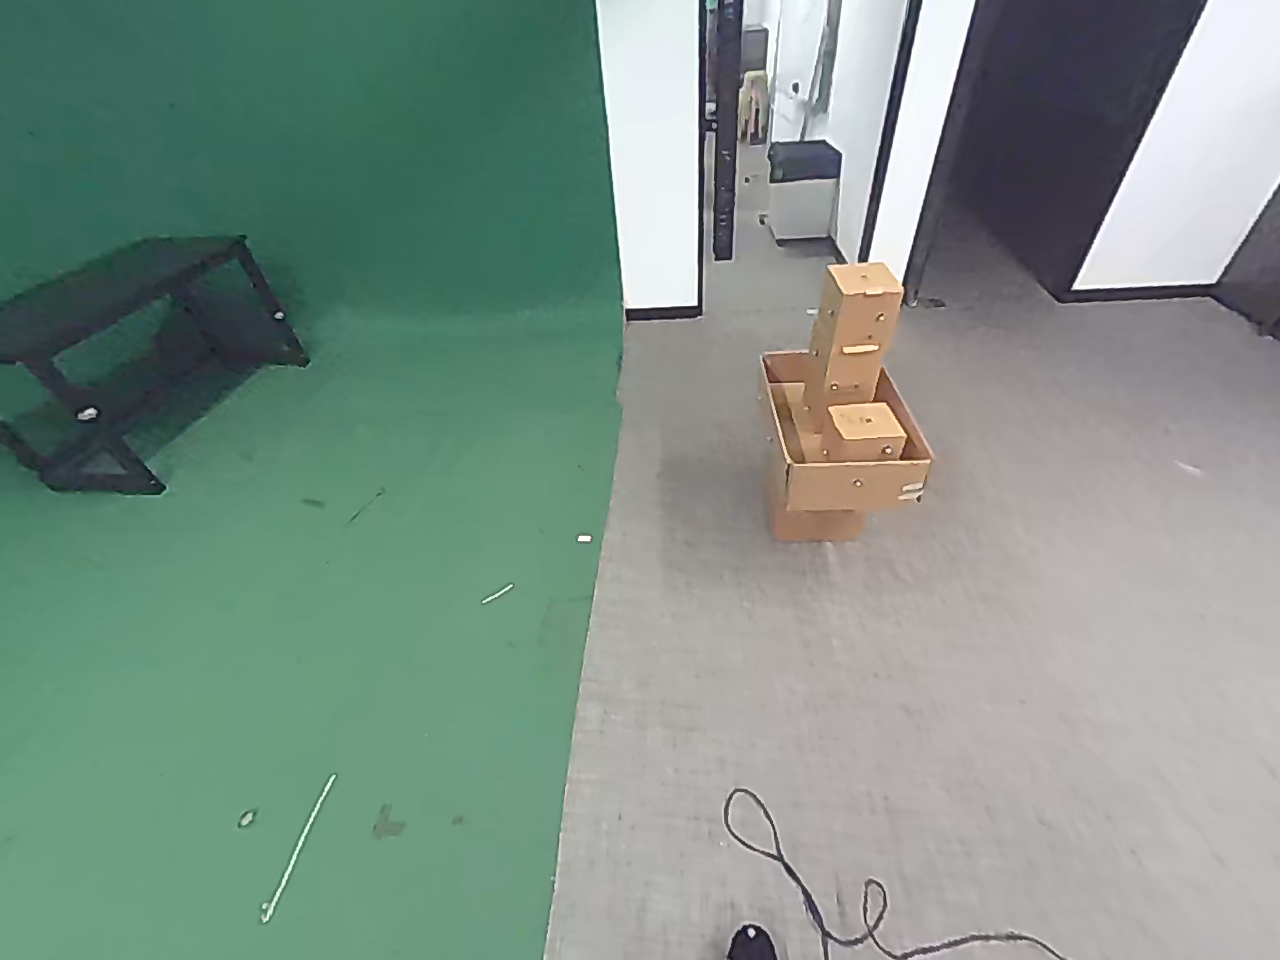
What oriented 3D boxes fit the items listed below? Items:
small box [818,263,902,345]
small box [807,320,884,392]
[{"bbox_3d":[0.623,-0.499,1.553,0.168,0.176,0.179,-2,45,2],"label":"small box"},{"bbox_3d":[0.626,-0.385,1.669,0.168,0.176,0.179,-5,45,0],"label":"small box"}]
